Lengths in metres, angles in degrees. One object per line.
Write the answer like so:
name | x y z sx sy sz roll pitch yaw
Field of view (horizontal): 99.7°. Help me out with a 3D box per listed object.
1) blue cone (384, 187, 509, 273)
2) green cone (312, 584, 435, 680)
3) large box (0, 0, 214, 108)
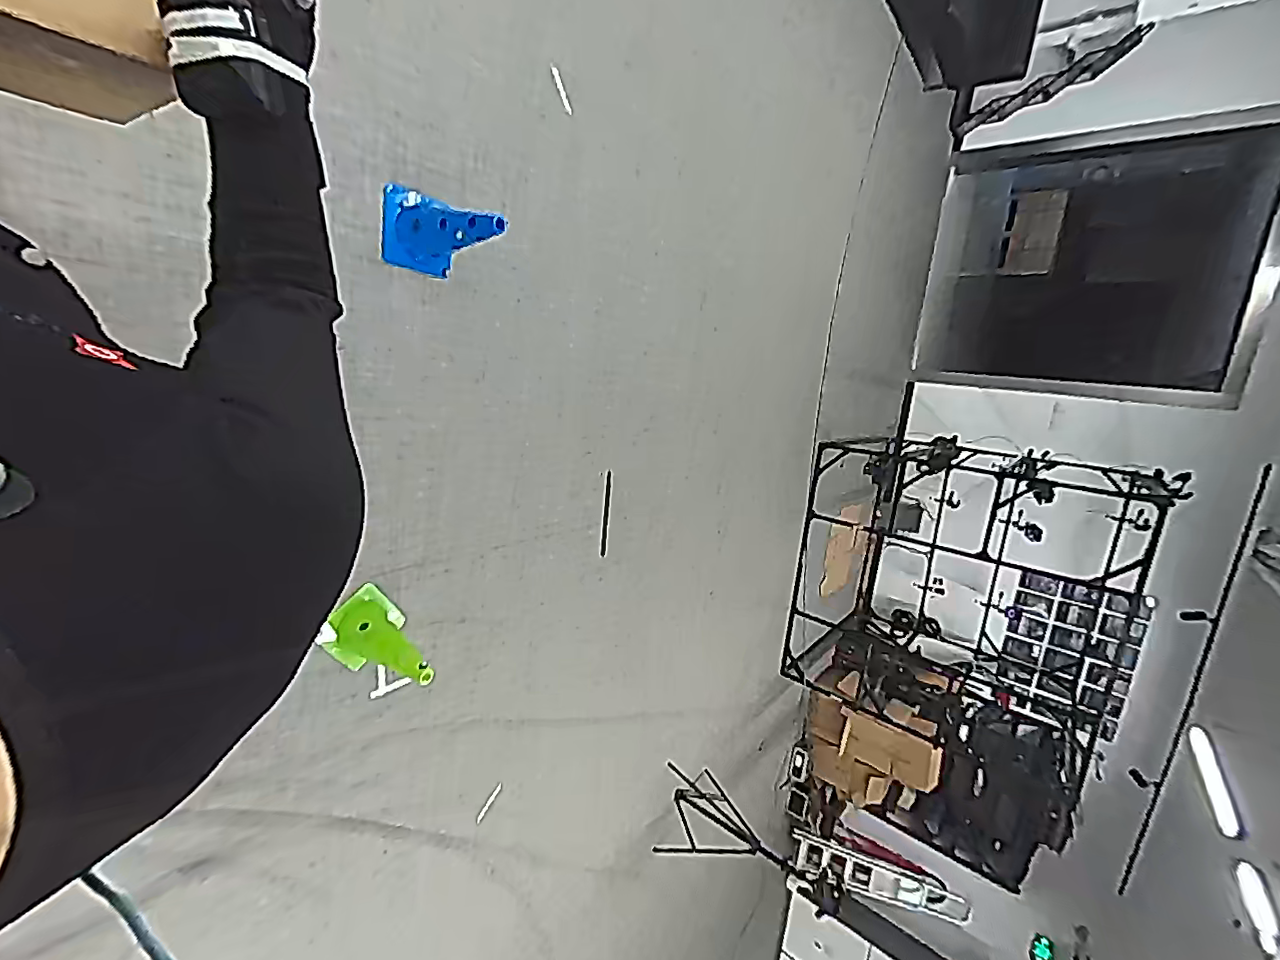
blue cone | -0.479 -0.647 1.388 0.192 0.380 0.193 -3 105 -53
green cone | -0.682 0.463 1.475 0.202 0.368 0.200 -51 138 -31
large box | -0.519 -0.452 0.274 0.408 0.320 0.320 -11 116 -51
